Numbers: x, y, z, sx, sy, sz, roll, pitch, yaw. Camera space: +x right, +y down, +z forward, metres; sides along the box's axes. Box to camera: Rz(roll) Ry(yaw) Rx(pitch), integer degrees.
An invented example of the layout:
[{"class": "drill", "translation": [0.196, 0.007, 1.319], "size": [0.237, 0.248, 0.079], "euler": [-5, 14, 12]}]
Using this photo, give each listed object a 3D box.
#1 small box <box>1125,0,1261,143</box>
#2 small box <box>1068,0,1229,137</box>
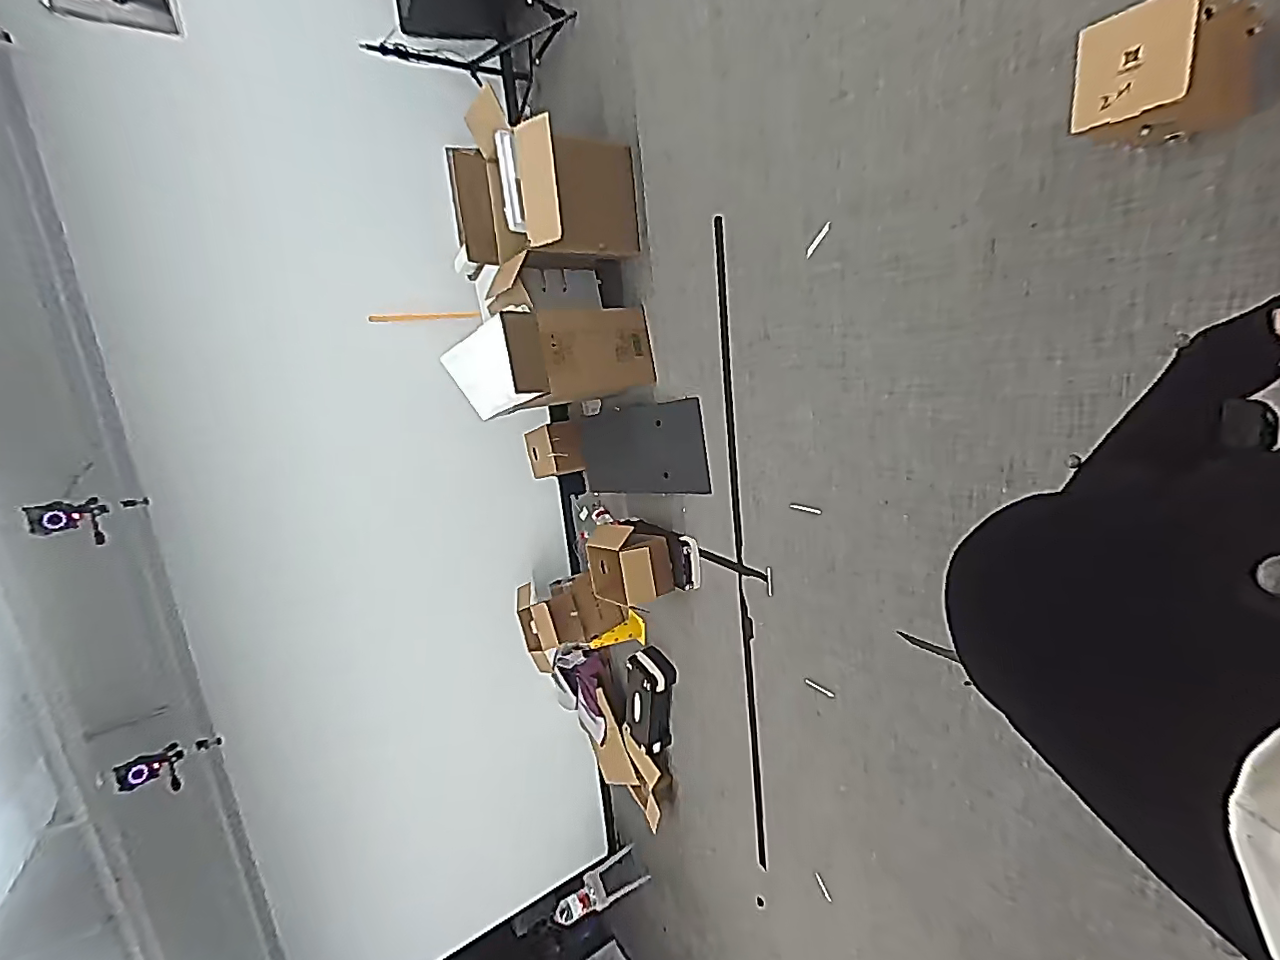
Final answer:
[{"class": "small box", "translation": [1.060, -0.788, 1.054], "size": [0.168, 0.176, 0.179], "euler": [18, 116, 57]}, {"class": "small box", "translation": [0.918, -0.753, 0.979], "size": [0.168, 0.176, 0.179], "euler": [17, 117, 57]}]
